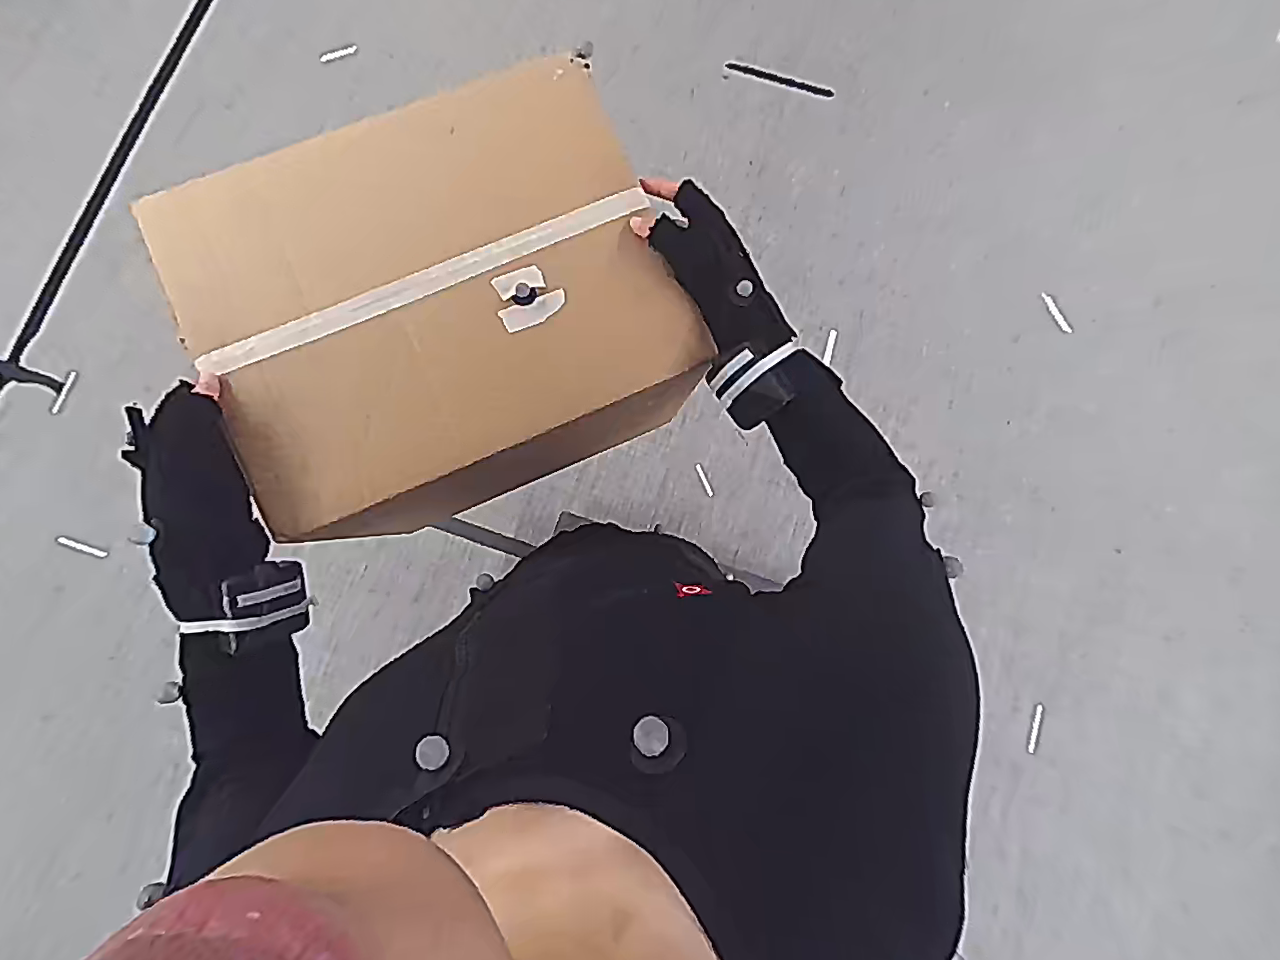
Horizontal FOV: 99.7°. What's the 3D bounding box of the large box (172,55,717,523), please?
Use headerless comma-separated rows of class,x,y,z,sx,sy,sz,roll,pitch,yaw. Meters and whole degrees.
large box,-0.180,-0.170,0.628,0.408,0.320,0.320,-24,88,-6
